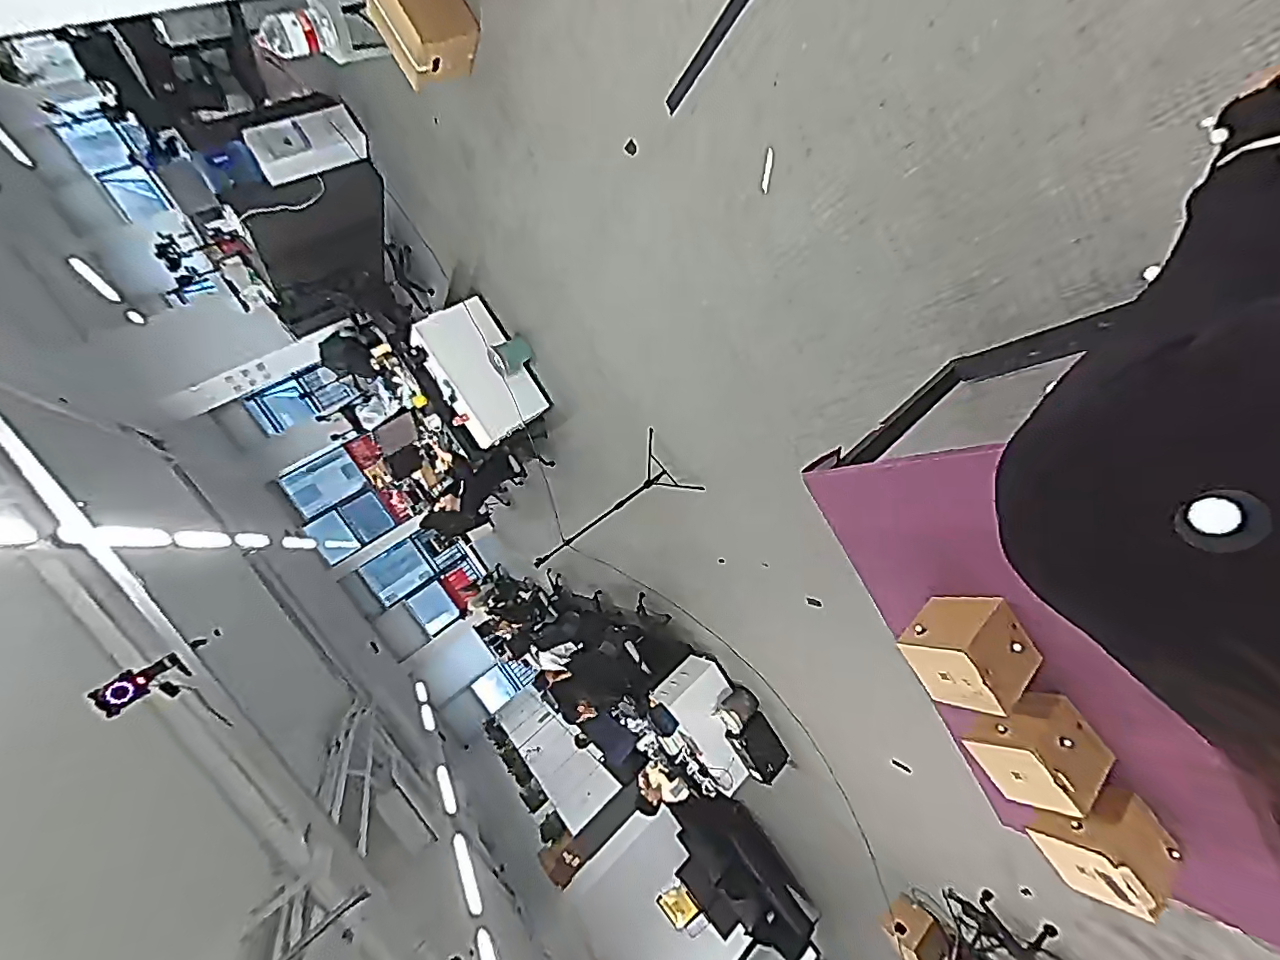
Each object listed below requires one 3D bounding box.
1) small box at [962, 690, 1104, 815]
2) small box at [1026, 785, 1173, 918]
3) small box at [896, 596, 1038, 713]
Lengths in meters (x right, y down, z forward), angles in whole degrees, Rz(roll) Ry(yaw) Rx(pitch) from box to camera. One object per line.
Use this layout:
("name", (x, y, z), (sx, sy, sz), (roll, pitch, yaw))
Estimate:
("small box", (0.866, 0.583, 1.186), (0.168, 0.176, 0.179), (53, 156, 4))
("small box", (1.012, 0.788, 1.187), (0.168, 0.176, 0.179), (53, 156, 2))
("small box", (0.710, 0.368, 1.178), (0.168, 0.176, 0.179), (55, 155, -4))
